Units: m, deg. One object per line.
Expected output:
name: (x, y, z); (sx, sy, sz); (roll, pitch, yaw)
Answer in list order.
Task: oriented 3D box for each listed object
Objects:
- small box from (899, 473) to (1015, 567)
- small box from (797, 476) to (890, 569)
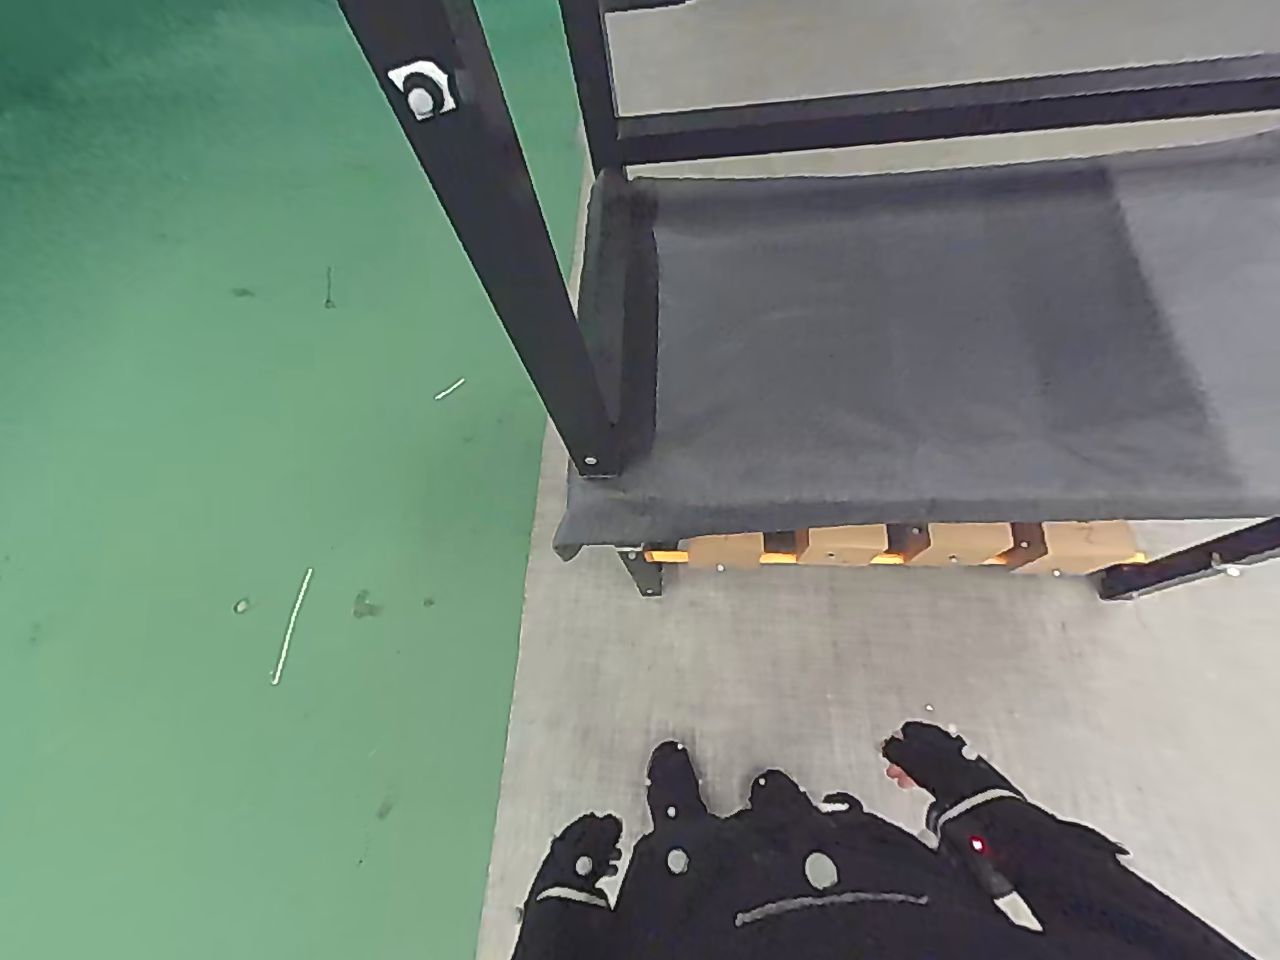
small box: (0.708, 0.097, 1.227); (0.168, 0.176, 0.179); (-1, 66, 8)
small box: (0.464, 0.104, 1.256); (0.168, 0.176, 0.179); (1, 67, 7)
